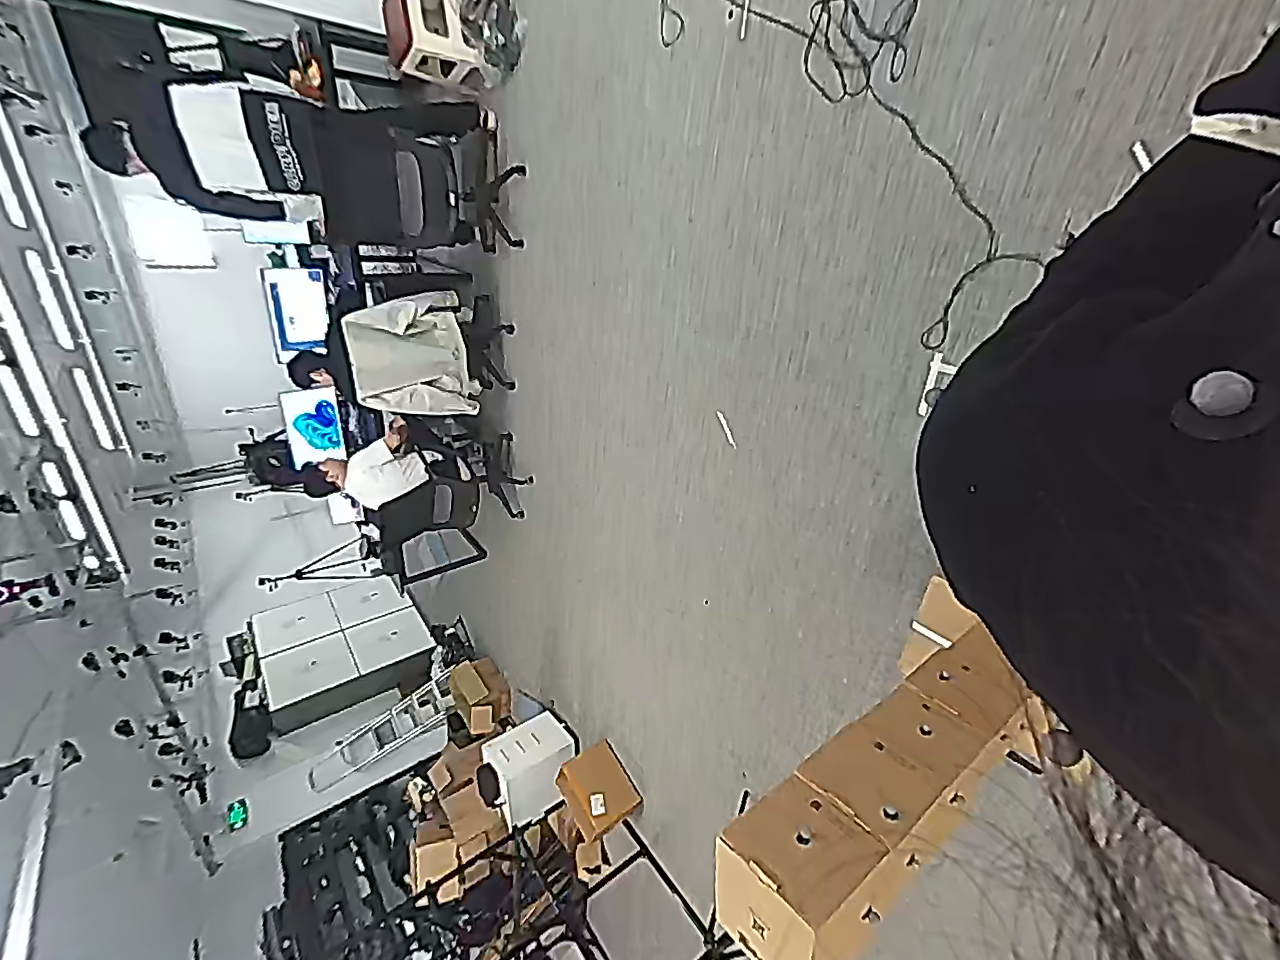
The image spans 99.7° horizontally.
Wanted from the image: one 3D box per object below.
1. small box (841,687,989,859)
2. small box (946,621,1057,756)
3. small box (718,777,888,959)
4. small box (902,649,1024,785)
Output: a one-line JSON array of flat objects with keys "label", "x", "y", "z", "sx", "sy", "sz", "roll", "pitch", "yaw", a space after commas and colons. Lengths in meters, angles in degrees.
[{"label": "small box", "x": 0.491, "y": 0.507, "z": 0.966, "sx": 0.168, "sy": 0.176, "sz": 0.179, "roll": 26, "pitch": 122, "yaw": 48}, {"label": "small box", "x": 0.747, "y": 0.437, "z": 1.155, "sx": 0.168, "sy": 0.176, "sz": 0.179, "roll": 31, "pitch": 126, "yaw": 44}, {"label": "small box", "x": 0.232, "y": 0.575, "z": 0.776, "sx": 0.168, "sy": 0.176, "sz": 0.179, "roll": 21, "pitch": 118, "yaw": 50}, {"label": "small box", "x": 0.618, "y": 0.466, "z": 1.062, "sx": 0.168, "sy": 0.176, "sz": 0.179, "roll": 30, "pitch": 127, "yaw": 46}]
